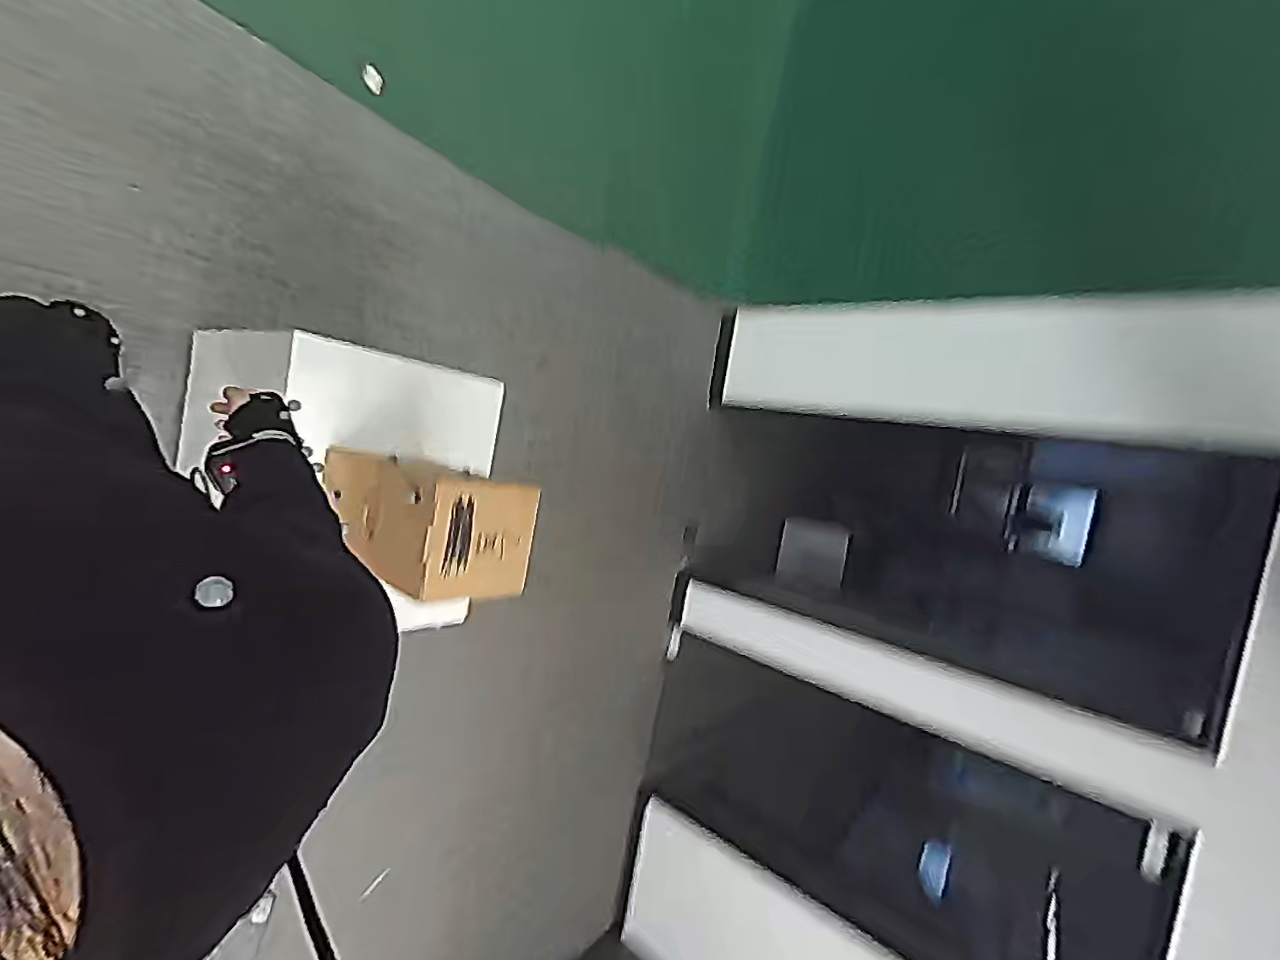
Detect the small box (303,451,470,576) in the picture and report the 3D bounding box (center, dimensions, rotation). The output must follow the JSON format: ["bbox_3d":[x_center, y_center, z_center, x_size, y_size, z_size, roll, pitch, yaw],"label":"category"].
[{"bbox_3d":[-0.413,0.051,0.885,0.179,0.176,0.168,7,94,-54],"label":"small box"}]
